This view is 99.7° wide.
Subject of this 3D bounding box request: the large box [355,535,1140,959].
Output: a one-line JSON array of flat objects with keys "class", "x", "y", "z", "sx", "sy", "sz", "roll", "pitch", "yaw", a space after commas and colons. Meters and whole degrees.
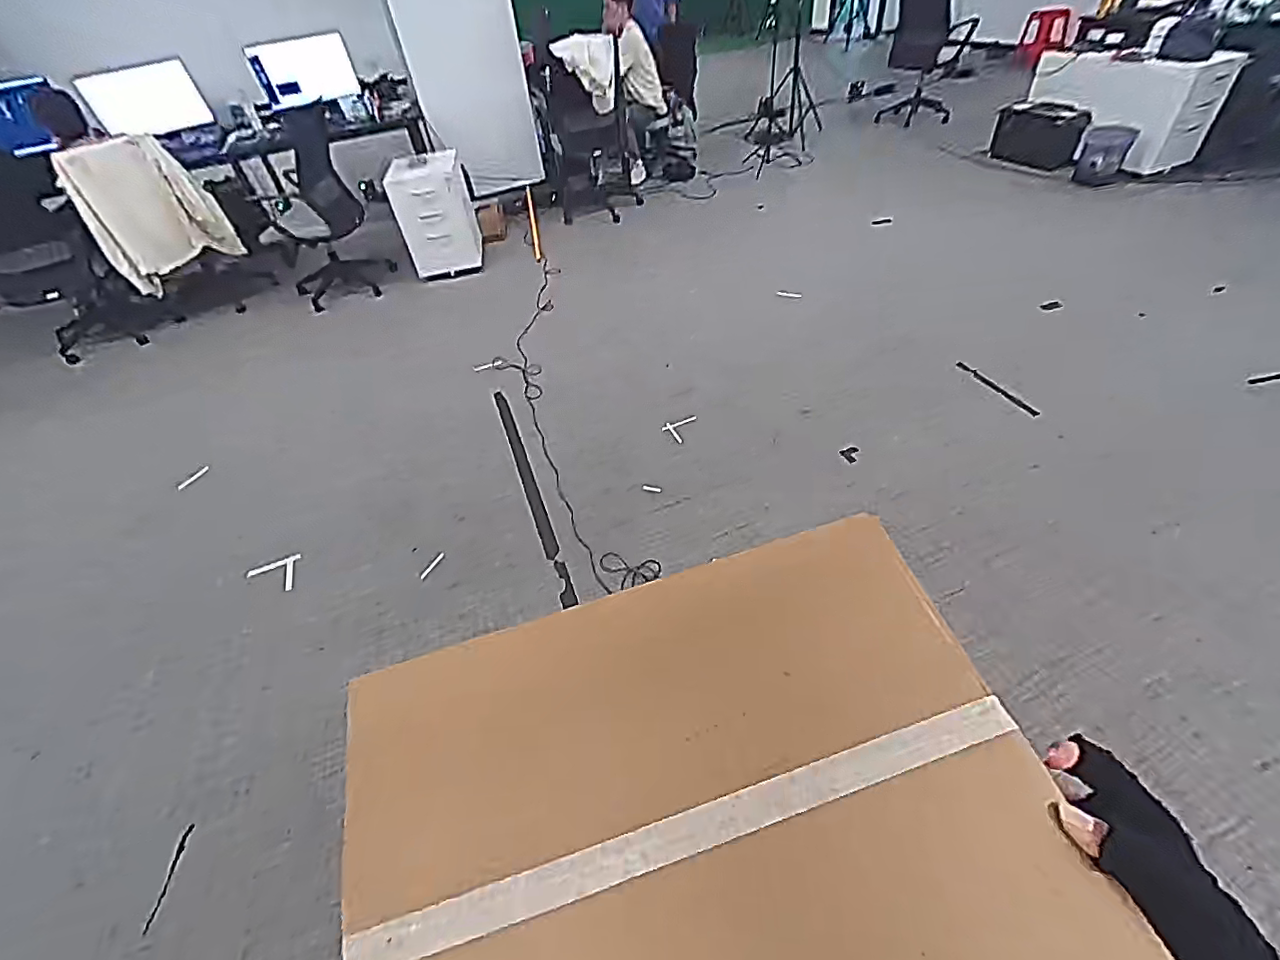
[{"class": "large box", "x": 0.047, "y": 0.303, "z": 0.439, "sx": 0.408, "sy": 0.320, "sz": 0.320, "roll": -18, "pitch": 53, "yaw": -5}]
